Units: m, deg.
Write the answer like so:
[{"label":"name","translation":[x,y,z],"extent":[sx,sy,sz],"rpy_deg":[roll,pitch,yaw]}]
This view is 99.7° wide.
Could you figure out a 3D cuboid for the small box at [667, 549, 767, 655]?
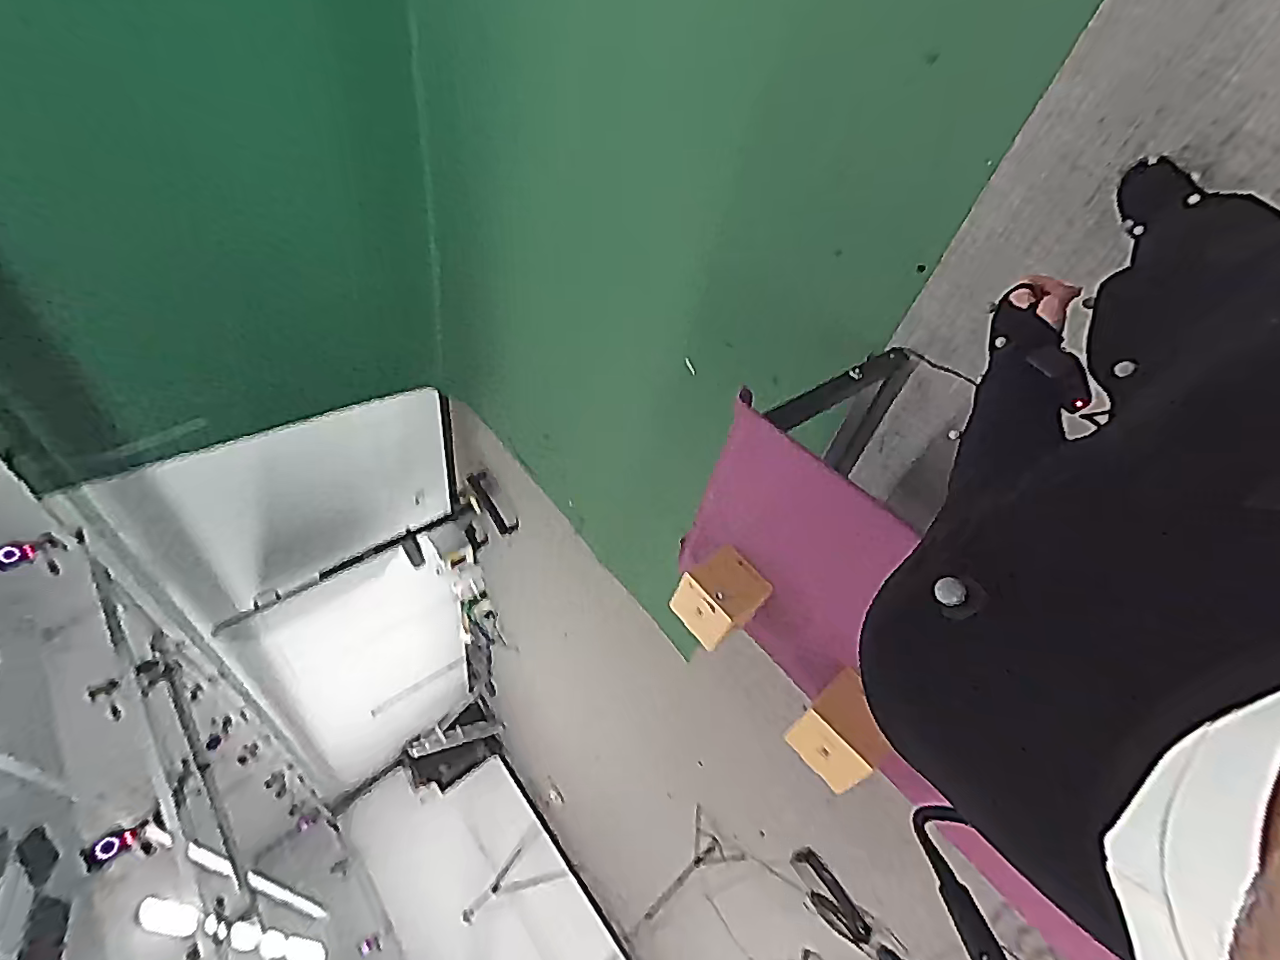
[{"label":"small box","translation":[0.201,0.314,1.411],"extent":[0.168,0.176,0.179],"rpy_deg":[45,142,24]}]

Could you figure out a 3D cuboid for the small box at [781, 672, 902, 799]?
[{"label":"small box","translation":[0.464,0.583,1.244],"extent":[0.168,0.176,0.179],"rpy_deg":[43,140,26]}]
